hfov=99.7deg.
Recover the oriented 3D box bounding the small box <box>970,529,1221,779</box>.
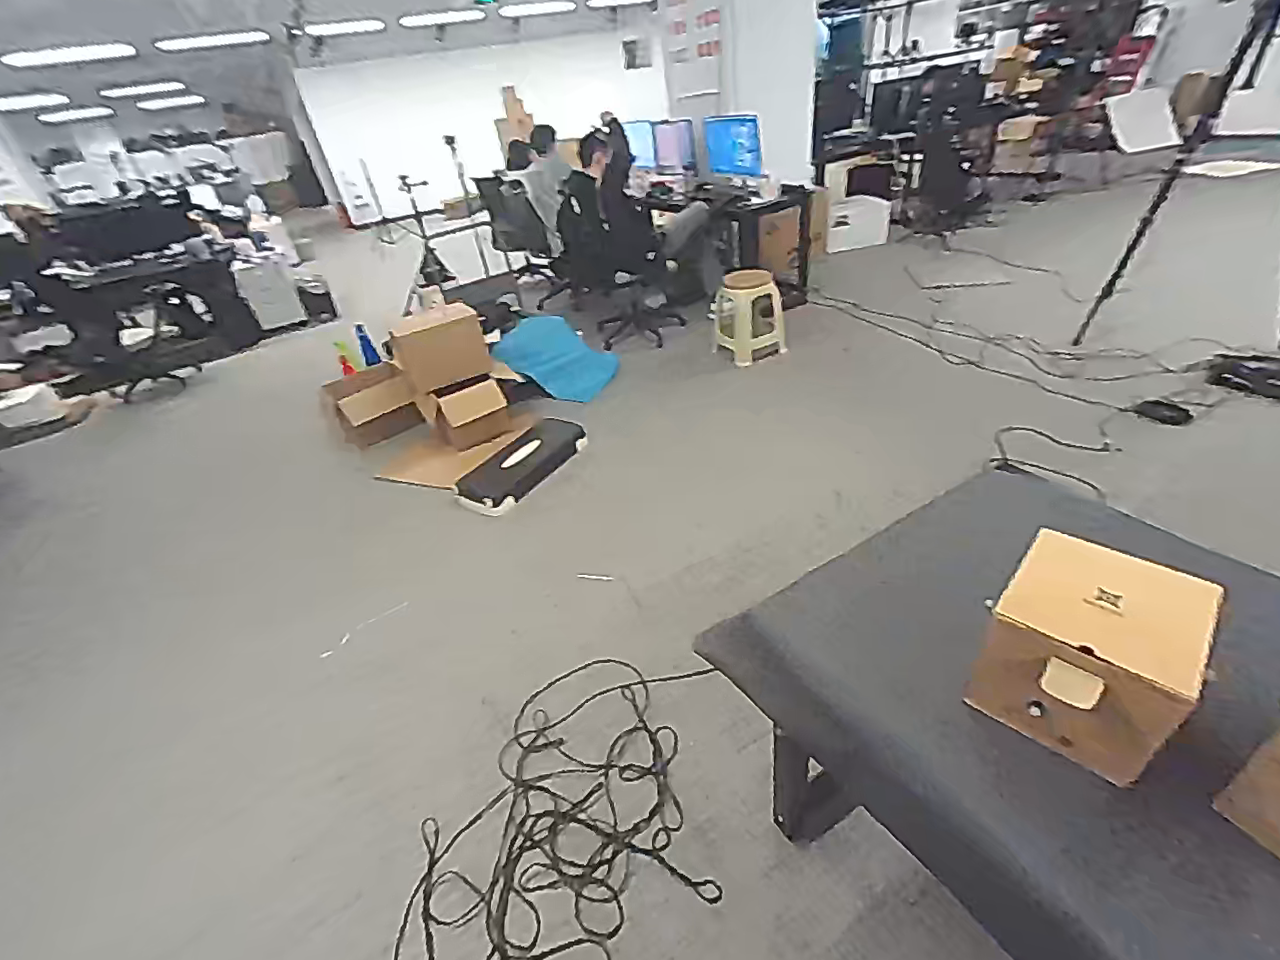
[{"bbox_3d":[0.511,0.193,0.625,0.168,0.176,0.179,25,48,39],"label":"small box"}]
